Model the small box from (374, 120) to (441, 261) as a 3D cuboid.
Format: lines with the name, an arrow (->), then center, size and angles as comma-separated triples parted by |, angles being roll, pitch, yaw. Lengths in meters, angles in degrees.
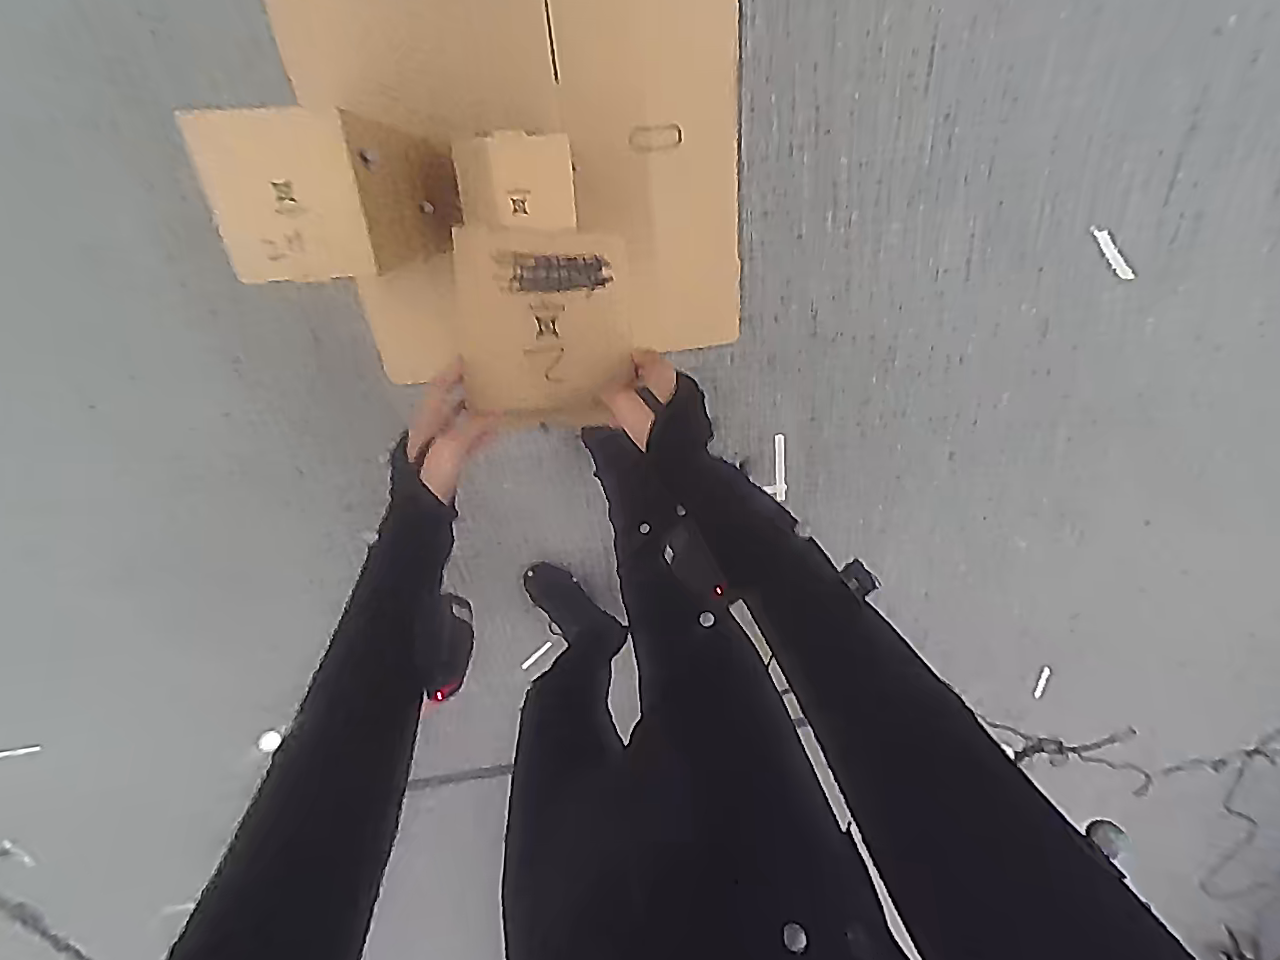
small box -> -0.415, -0.433, 0.819 | 0.168, 0.176, 0.179 | -6, 120, -4

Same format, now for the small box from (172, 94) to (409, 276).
small box -> -0.407, -0.359, 0.670 | 0.168, 0.176, 0.179 | -4, 119, -4

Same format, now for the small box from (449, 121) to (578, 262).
small box -> -0.187, -0.444, 0.842 | 0.168, 0.176, 0.179 | -5, 119, -5
